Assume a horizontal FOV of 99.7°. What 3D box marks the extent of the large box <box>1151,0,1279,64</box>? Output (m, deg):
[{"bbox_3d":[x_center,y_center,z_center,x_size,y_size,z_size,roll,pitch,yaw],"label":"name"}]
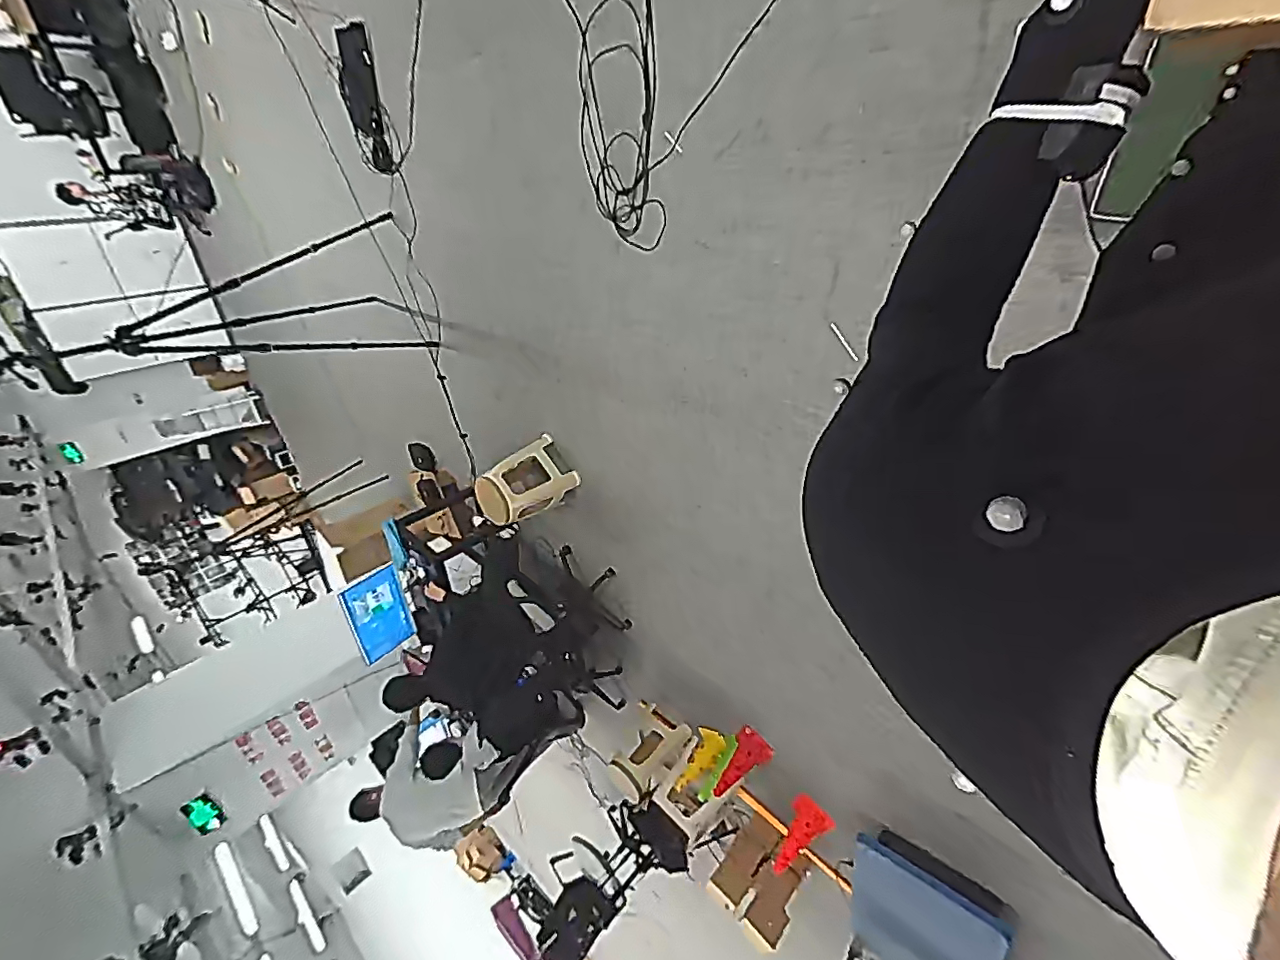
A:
[{"bbox_3d":[0.601,-0.446,0.287,0.408,0.320,0.320,24,131,35],"label":"large box"}]
